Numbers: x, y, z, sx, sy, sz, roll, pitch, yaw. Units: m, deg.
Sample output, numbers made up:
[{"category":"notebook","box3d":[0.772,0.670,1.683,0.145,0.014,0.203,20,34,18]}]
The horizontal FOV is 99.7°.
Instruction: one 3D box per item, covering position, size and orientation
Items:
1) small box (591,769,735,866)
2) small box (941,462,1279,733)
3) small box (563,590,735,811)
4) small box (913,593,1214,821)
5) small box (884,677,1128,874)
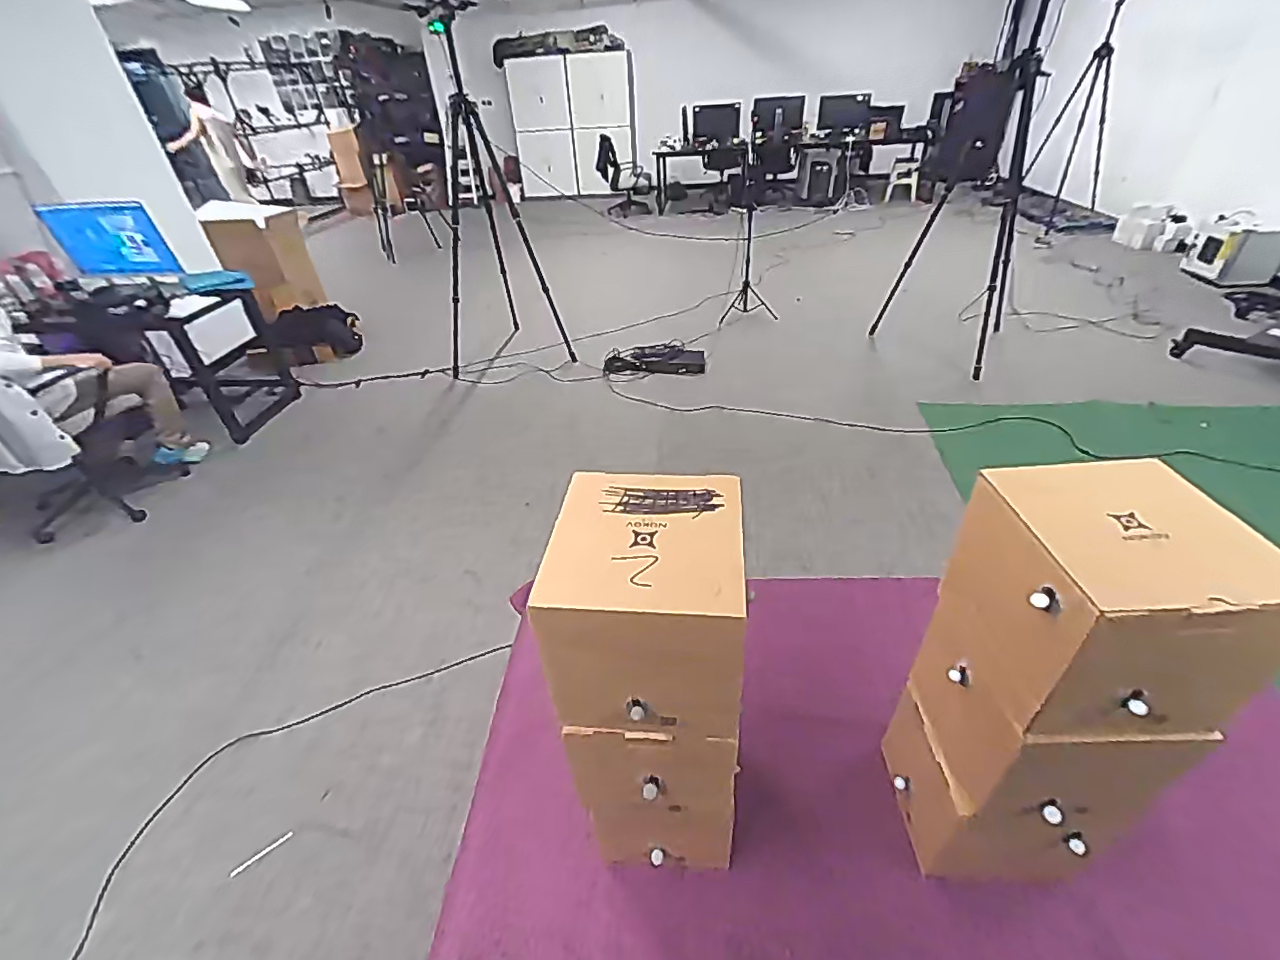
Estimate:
[{"category":"small box","box3d":[0.035,0.374,0.716,0.168,0.176,0.179,0,37,6]},{"category":"small box","box3d":[0.407,0.103,0.493,0.168,0.176,0.179,-4,37,2]},{"category":"small box","box3d":[0.021,0.248,0.612,0.168,0.176,0.179,0,38,6]},{"category":"small box","box3d":[0.421,0.237,0.584,0.168,0.176,0.179,-3,37,4]},{"category":"small box","box3d":[0.433,0.369,0.679,0.179,0.176,0.168,-1,36,4]}]
